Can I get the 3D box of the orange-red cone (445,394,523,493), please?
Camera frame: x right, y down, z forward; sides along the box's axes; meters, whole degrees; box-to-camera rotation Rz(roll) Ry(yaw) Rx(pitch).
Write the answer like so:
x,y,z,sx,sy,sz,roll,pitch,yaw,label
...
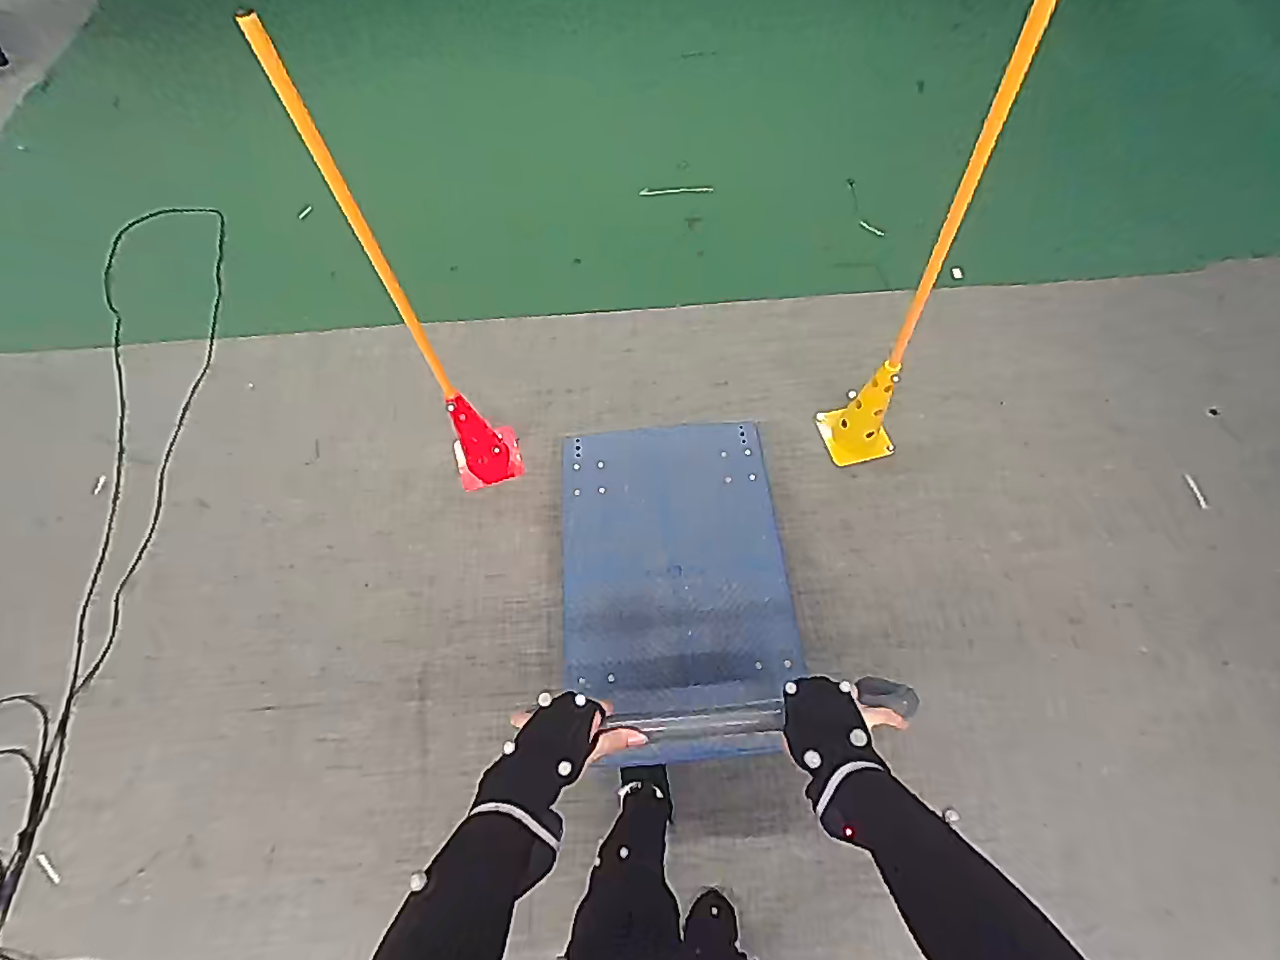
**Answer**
x,y,z,sx,sy,sz,roll,pitch,yaw,label
-0.499,-0.137,1.610,0.199,0.360,0.198,-17,63,-4,orange-red cone
